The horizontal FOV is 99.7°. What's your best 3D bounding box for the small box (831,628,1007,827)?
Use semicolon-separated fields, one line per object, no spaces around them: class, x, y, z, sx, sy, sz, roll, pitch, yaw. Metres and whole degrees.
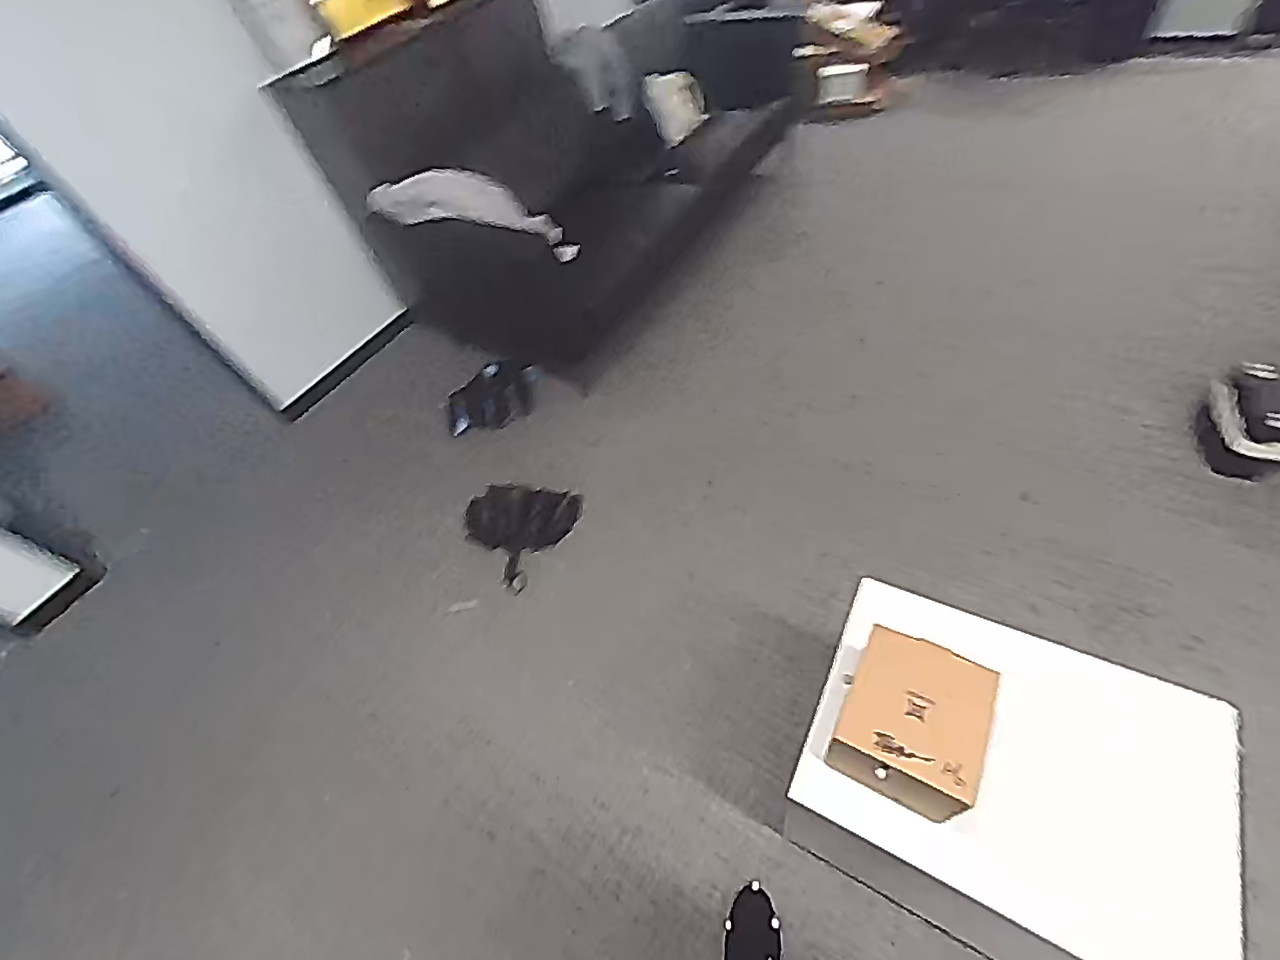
small box;0.377;0.345;0.755;0.168;0.176;0.179;20;59;27
